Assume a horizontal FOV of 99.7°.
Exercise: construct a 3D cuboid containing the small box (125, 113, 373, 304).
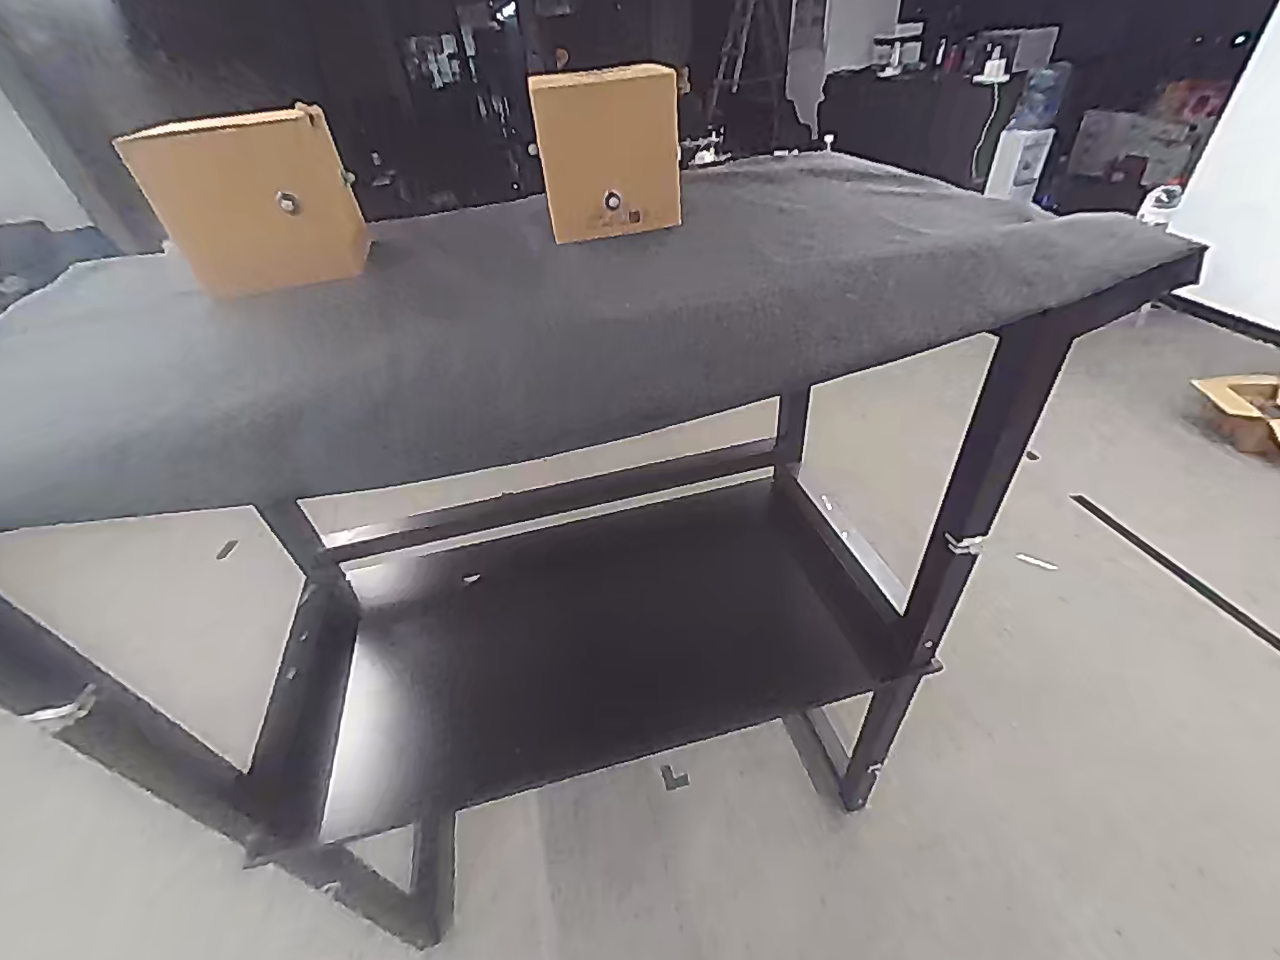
[{"bbox_3d":[-0.450,-0.335,0.665,0.179,0.176,0.168,-14,40,-10],"label":"small box"}]
